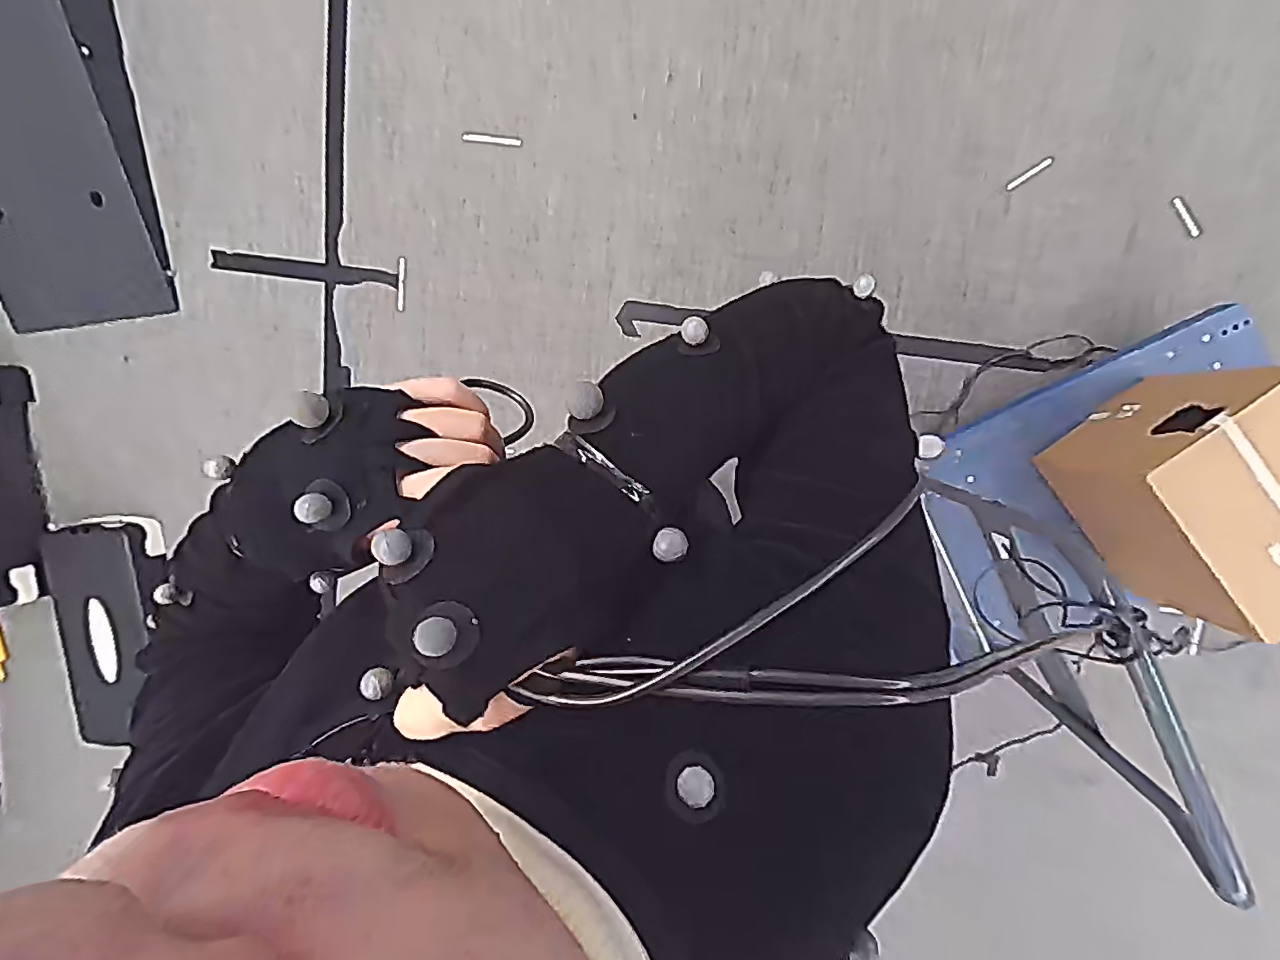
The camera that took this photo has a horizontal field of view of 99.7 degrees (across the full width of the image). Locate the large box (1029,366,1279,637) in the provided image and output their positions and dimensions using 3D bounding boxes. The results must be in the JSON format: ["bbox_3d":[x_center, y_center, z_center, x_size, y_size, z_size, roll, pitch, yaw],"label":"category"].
[{"bbox_3d":[1.128,0.025,1.104,0.320,0.320,0.408,-38,95,8],"label":"large box"}]
